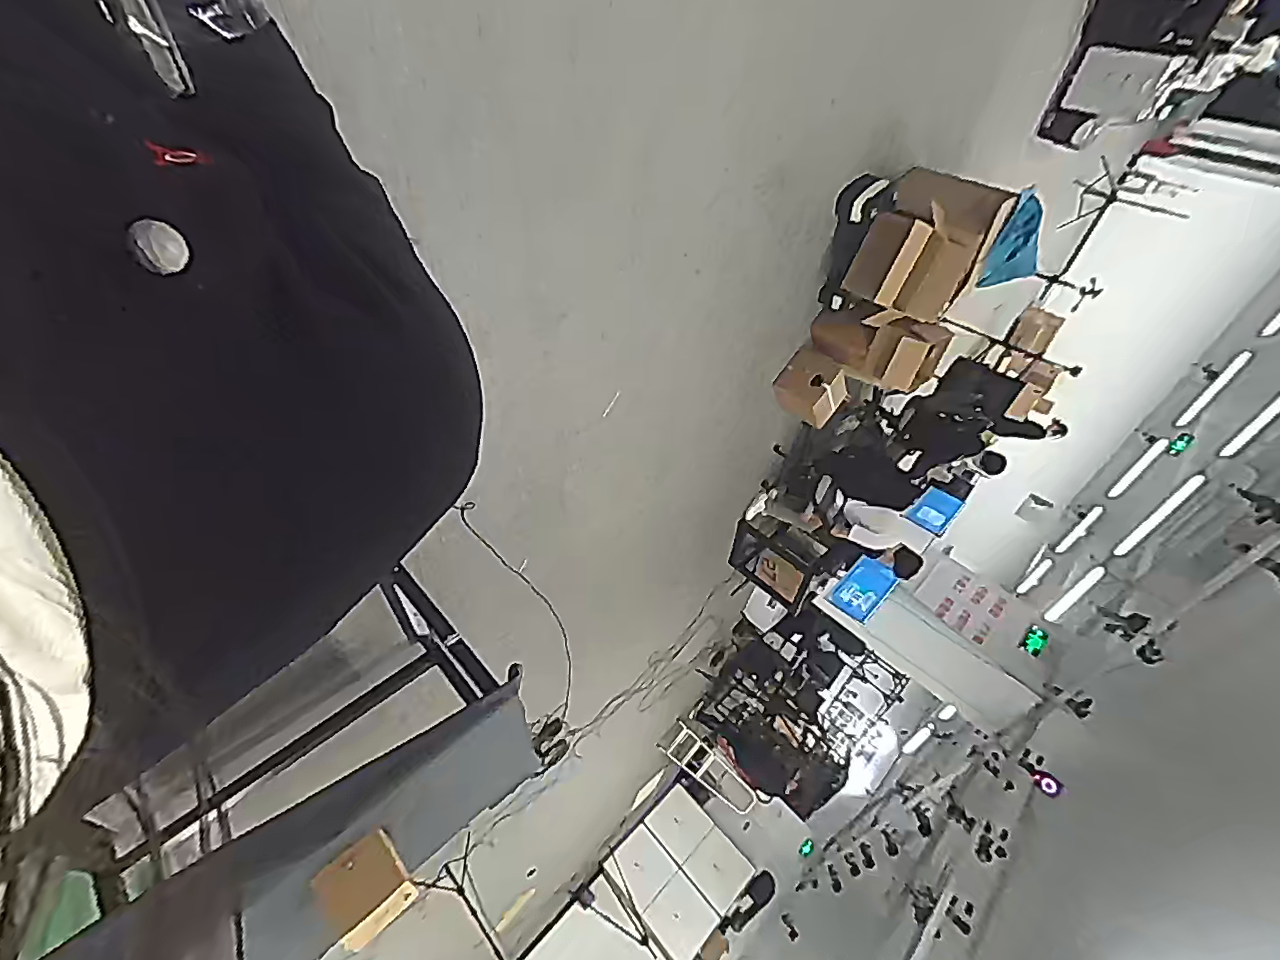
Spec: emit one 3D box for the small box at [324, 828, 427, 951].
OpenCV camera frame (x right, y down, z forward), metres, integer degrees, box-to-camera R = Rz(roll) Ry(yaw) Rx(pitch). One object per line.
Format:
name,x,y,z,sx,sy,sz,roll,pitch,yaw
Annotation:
small box,-0.688,1.057,1.401,0.179,0.176,0.168,-32,145,-33
